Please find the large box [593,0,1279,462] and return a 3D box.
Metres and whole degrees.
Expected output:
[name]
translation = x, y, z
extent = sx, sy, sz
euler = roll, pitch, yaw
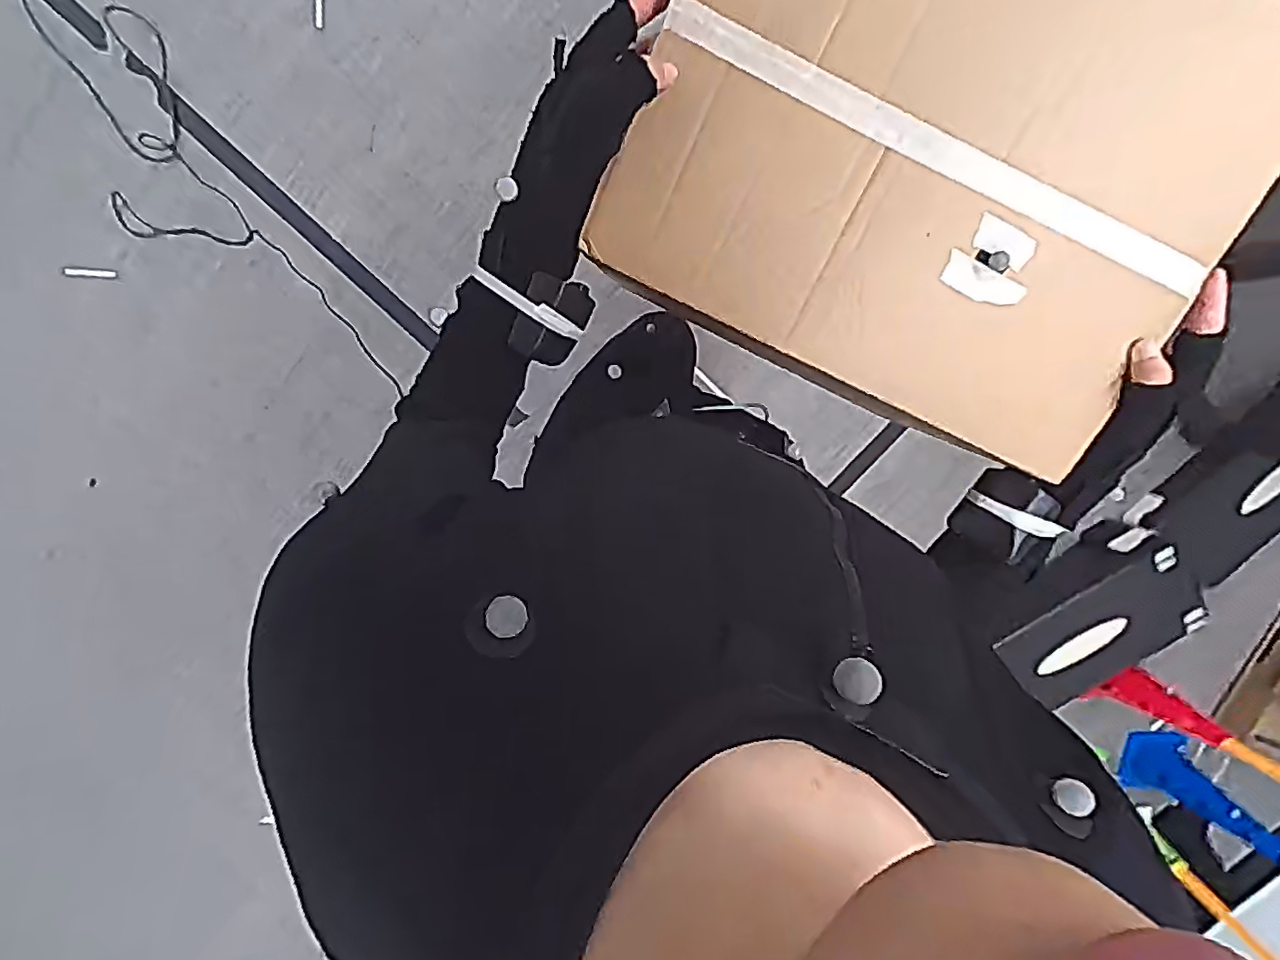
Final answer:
[large box]
translation = 0.208, -0.264, 0.519
extent = 0.408, 0.320, 0.320
euler = 25, 106, -4
